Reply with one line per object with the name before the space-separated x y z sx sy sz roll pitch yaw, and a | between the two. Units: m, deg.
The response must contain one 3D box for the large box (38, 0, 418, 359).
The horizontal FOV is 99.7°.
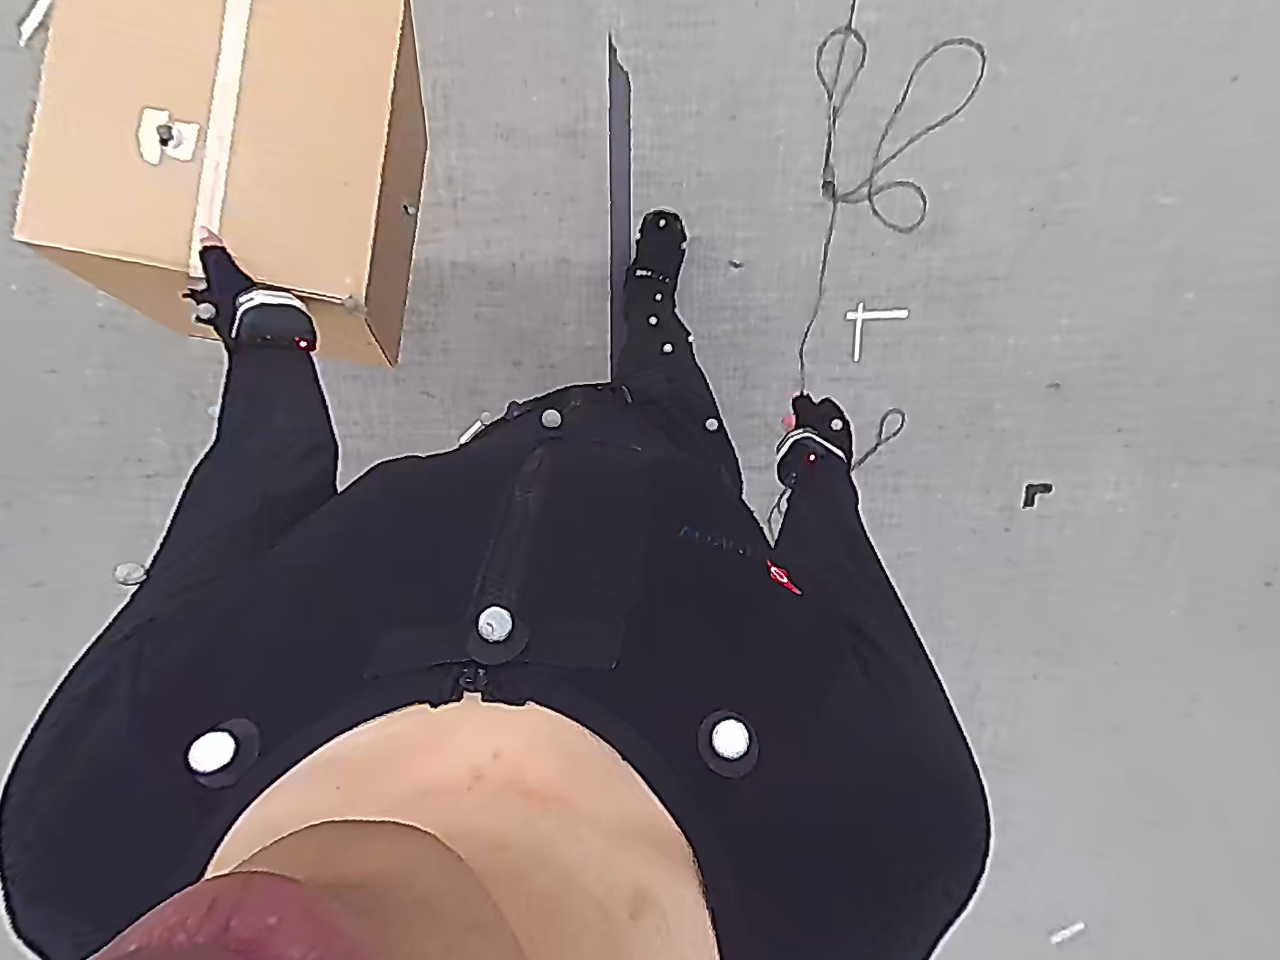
large box | -0.496 -0.419 0.742 0.320 0.320 0.408 6 87 -16
